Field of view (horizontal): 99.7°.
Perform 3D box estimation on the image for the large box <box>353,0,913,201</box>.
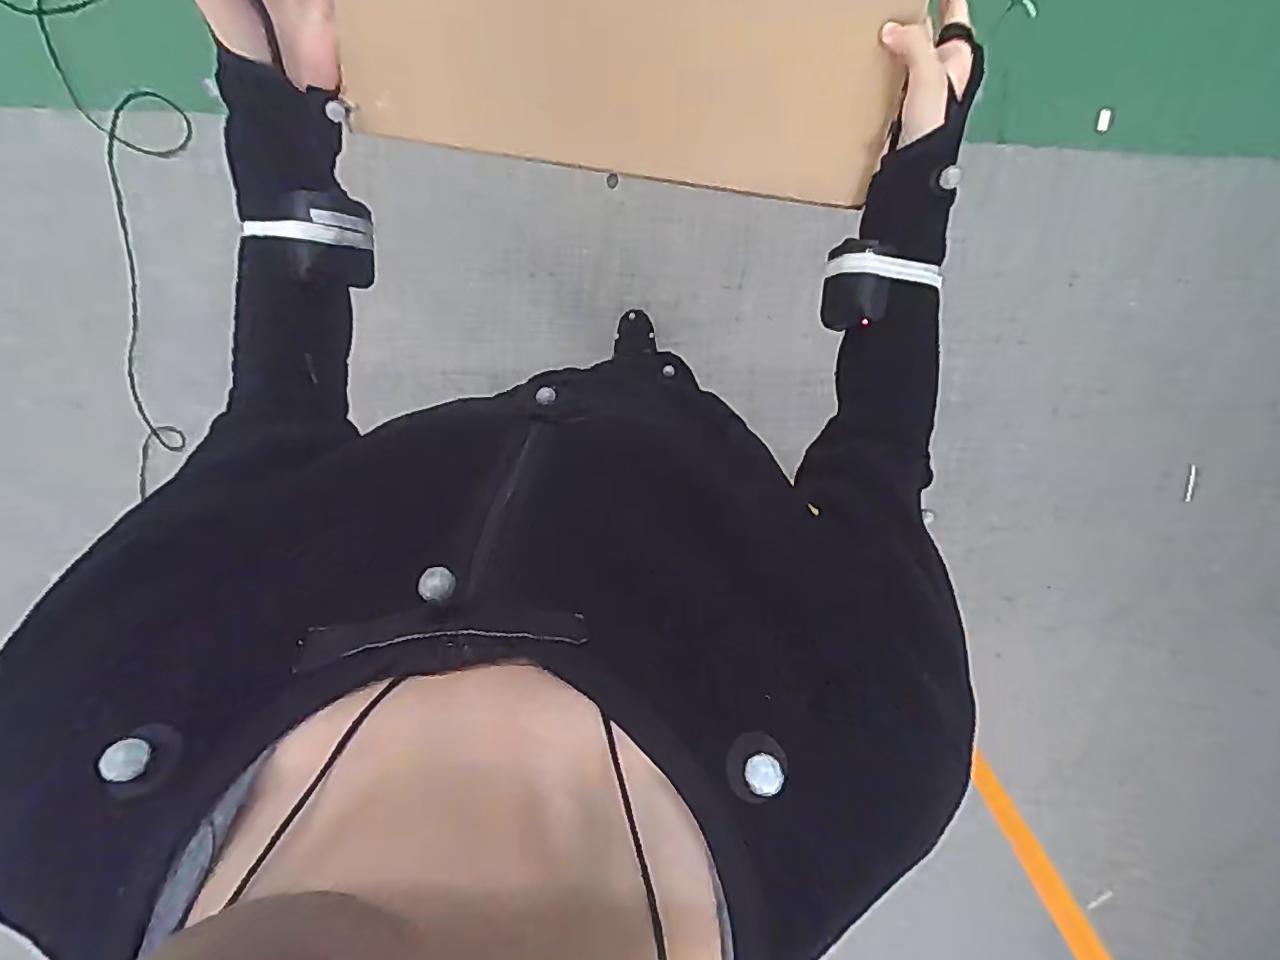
[{"bbox_3d":[-0.002,-0.458,0.485,0.408,0.320,0.320,4,120,-8],"label":"large box"}]
